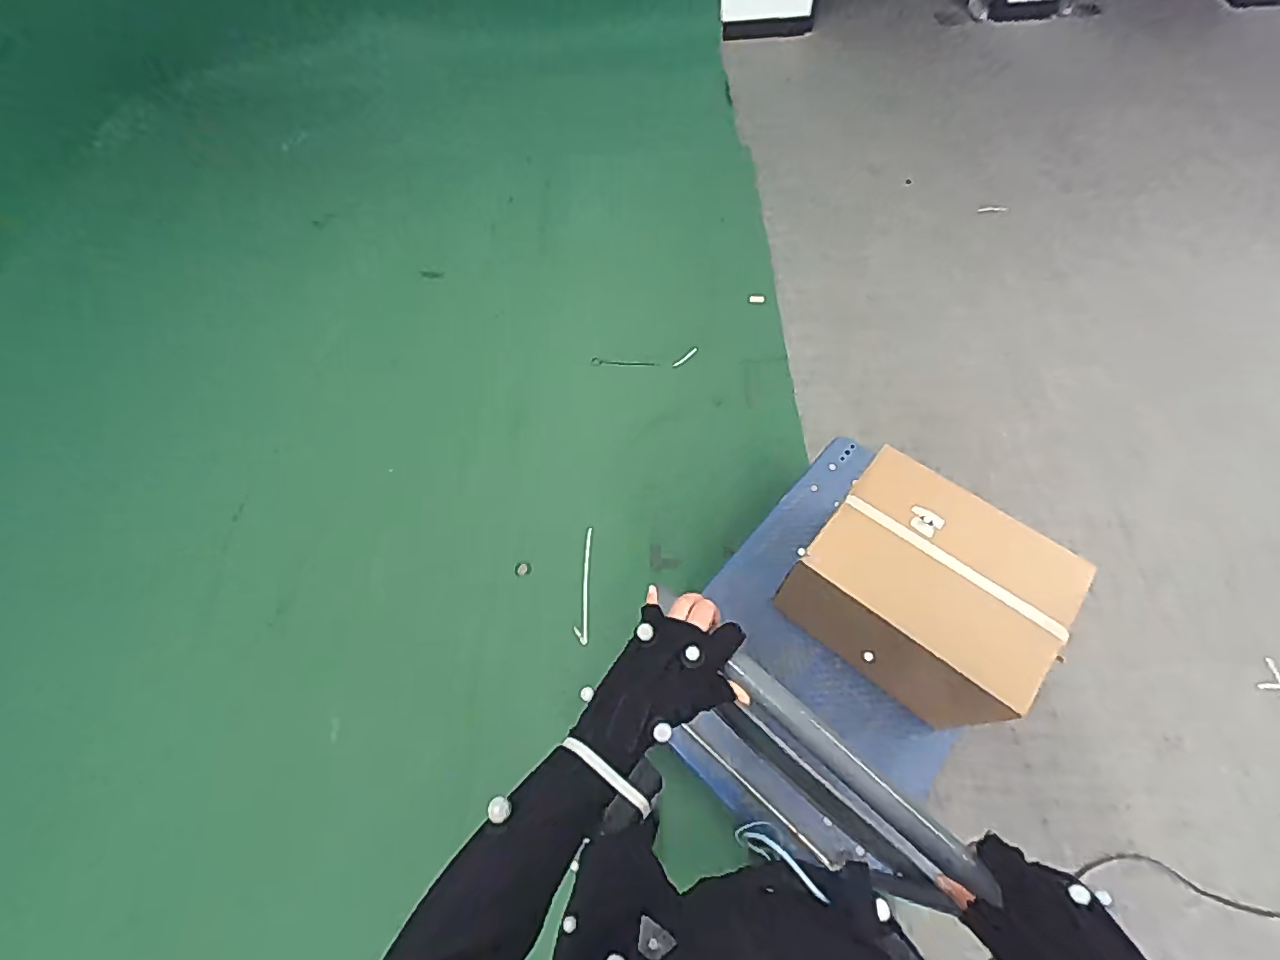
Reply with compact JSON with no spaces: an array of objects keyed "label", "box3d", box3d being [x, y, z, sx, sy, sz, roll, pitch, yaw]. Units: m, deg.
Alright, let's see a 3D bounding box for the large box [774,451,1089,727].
[{"label":"large box","box3d":[0.535,0.221,1.074,0.408,0.320,0.320,36,69,21]}]
